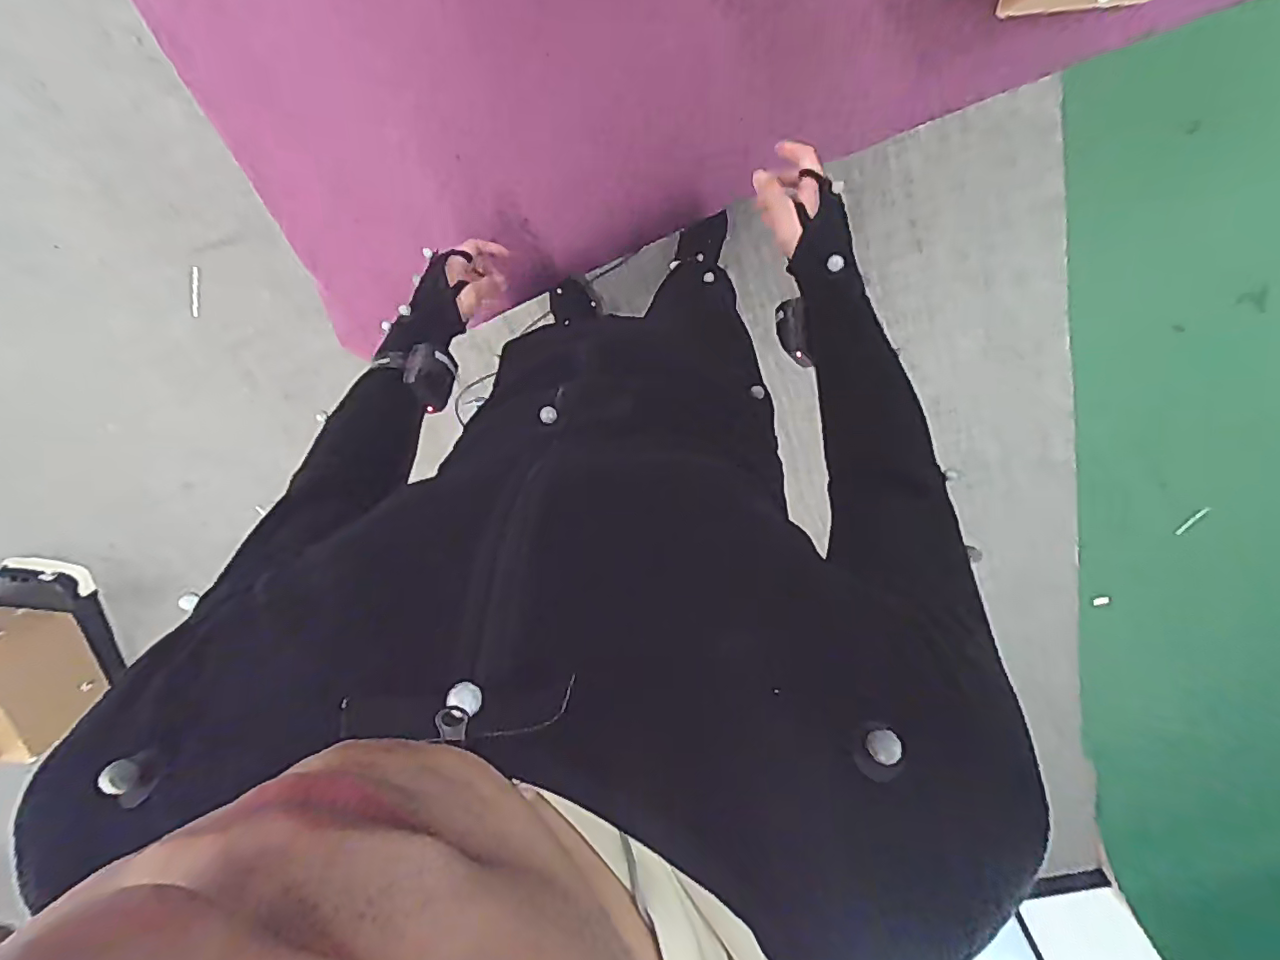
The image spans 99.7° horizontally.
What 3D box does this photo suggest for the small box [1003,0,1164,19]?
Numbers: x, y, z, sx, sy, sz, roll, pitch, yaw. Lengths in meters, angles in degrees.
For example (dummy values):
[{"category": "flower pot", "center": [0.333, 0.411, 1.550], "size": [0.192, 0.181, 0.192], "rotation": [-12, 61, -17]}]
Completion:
[{"category": "small box", "center": [0.474, -0.562, 0.503], "size": [0.168, 0.176, 0.179], "rotation": [-2, 116, 4]}]
